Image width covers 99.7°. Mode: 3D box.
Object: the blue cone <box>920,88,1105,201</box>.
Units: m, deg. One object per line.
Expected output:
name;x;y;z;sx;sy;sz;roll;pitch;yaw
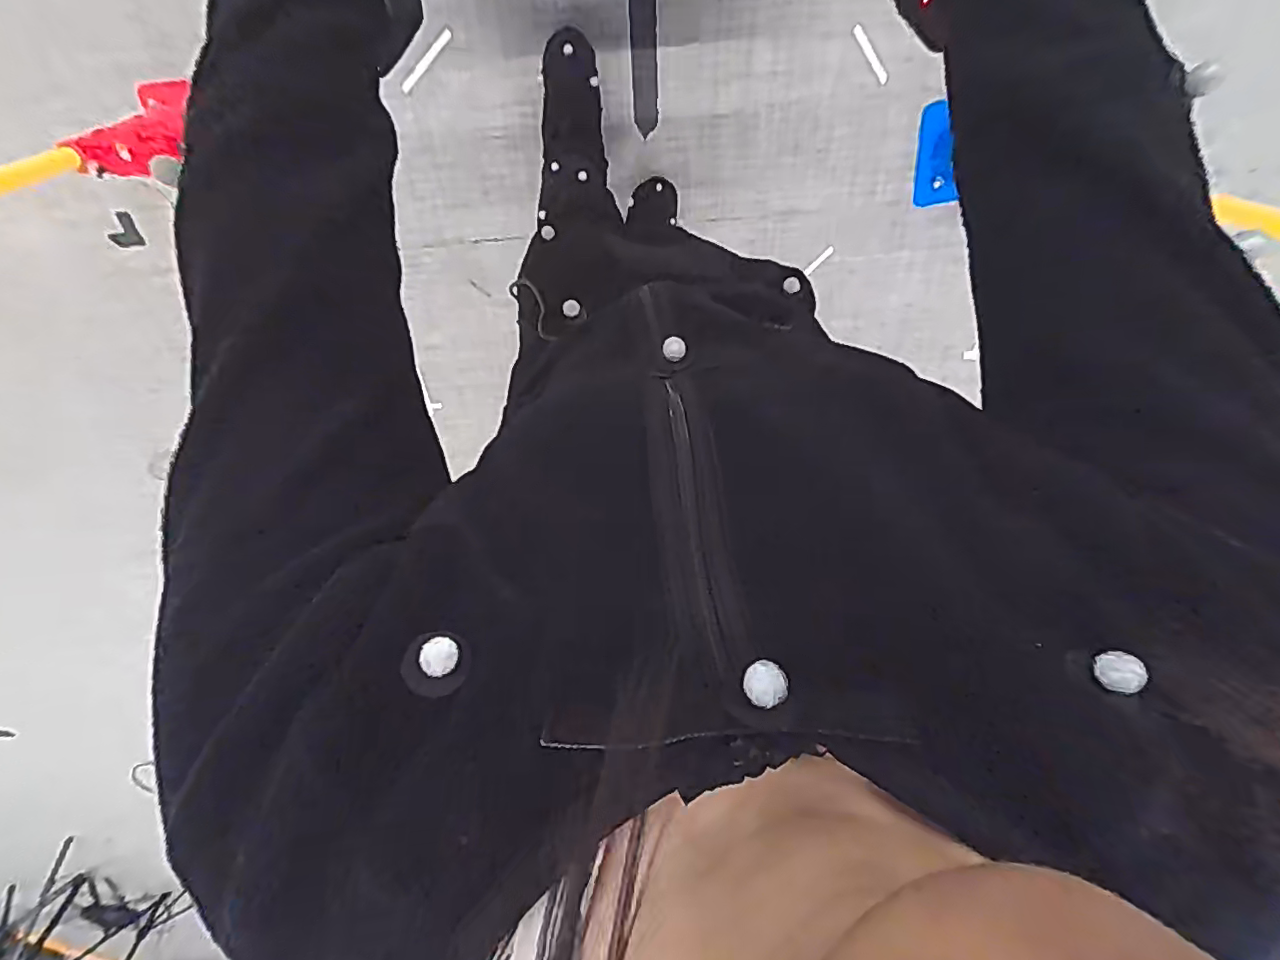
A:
blue cone;0.712;-0.620;1.021;0.193;0.380;0.192;-8;124;1
